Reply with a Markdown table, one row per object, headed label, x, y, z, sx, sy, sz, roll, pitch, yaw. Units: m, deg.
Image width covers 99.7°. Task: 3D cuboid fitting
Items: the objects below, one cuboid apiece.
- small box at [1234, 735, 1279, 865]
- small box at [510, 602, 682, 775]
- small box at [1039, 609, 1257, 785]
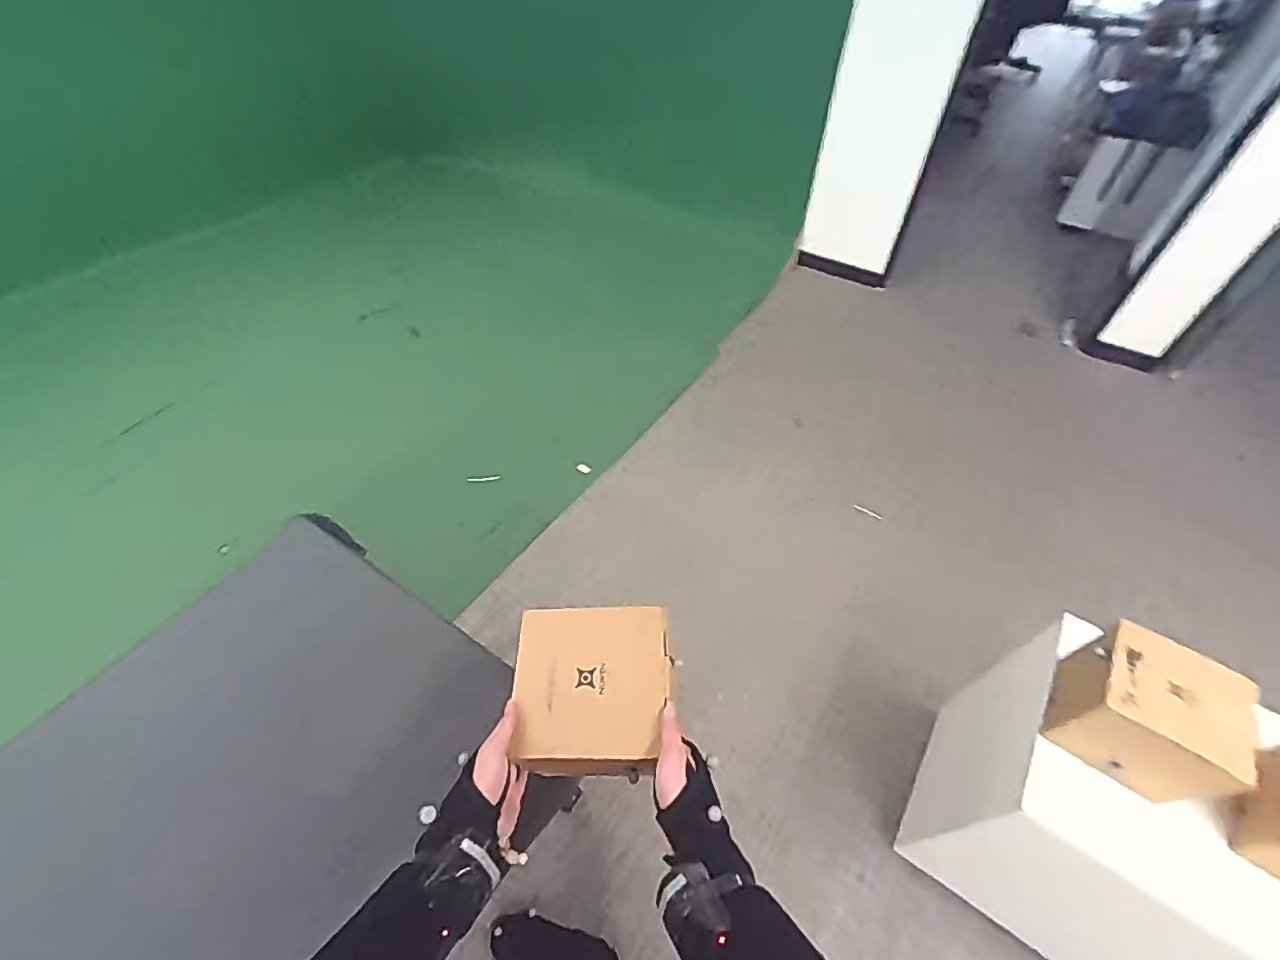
| label | x | y | z | sx | sy | sz | roll | pitch | yaw |
| --- | --- | --- | --- | --- | --- | --- | --- | --- | --- |
| small box | 0.974 | 0.459 | 0.729 | 0.179 | 0.176 | 0.168 | 31 | 58 | 22 |
| small box | -0.040 | 0.260 | 0.665 | 0.179 | 0.176 | 0.168 | -4 | 55 | 7 |
| small box | 0.767 | 0.337 | 0.829 | 0.179 | 0.176 | 0.168 | 30 | 57 | 21 |
